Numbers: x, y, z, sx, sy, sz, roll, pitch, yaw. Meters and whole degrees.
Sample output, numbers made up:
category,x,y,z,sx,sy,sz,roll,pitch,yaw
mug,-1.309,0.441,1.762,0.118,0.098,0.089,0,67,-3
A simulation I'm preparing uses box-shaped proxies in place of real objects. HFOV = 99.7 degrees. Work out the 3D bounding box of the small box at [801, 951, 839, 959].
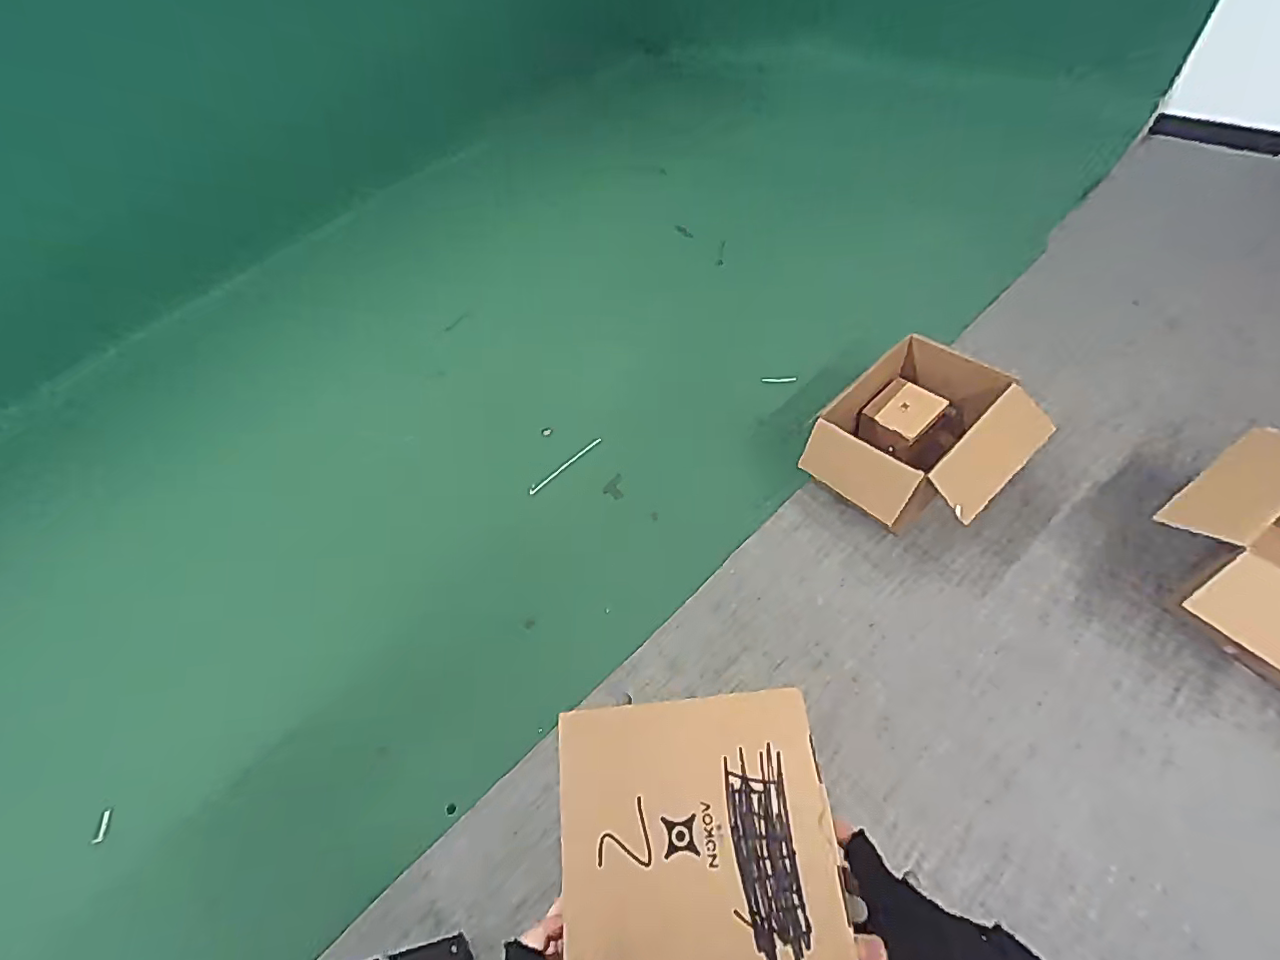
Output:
category,x,y,z,sx,sy,sz,roll,pitch,yaw
small box,0.346,0.988,0.956,0.179,0.176,0.168,18,27,-3
